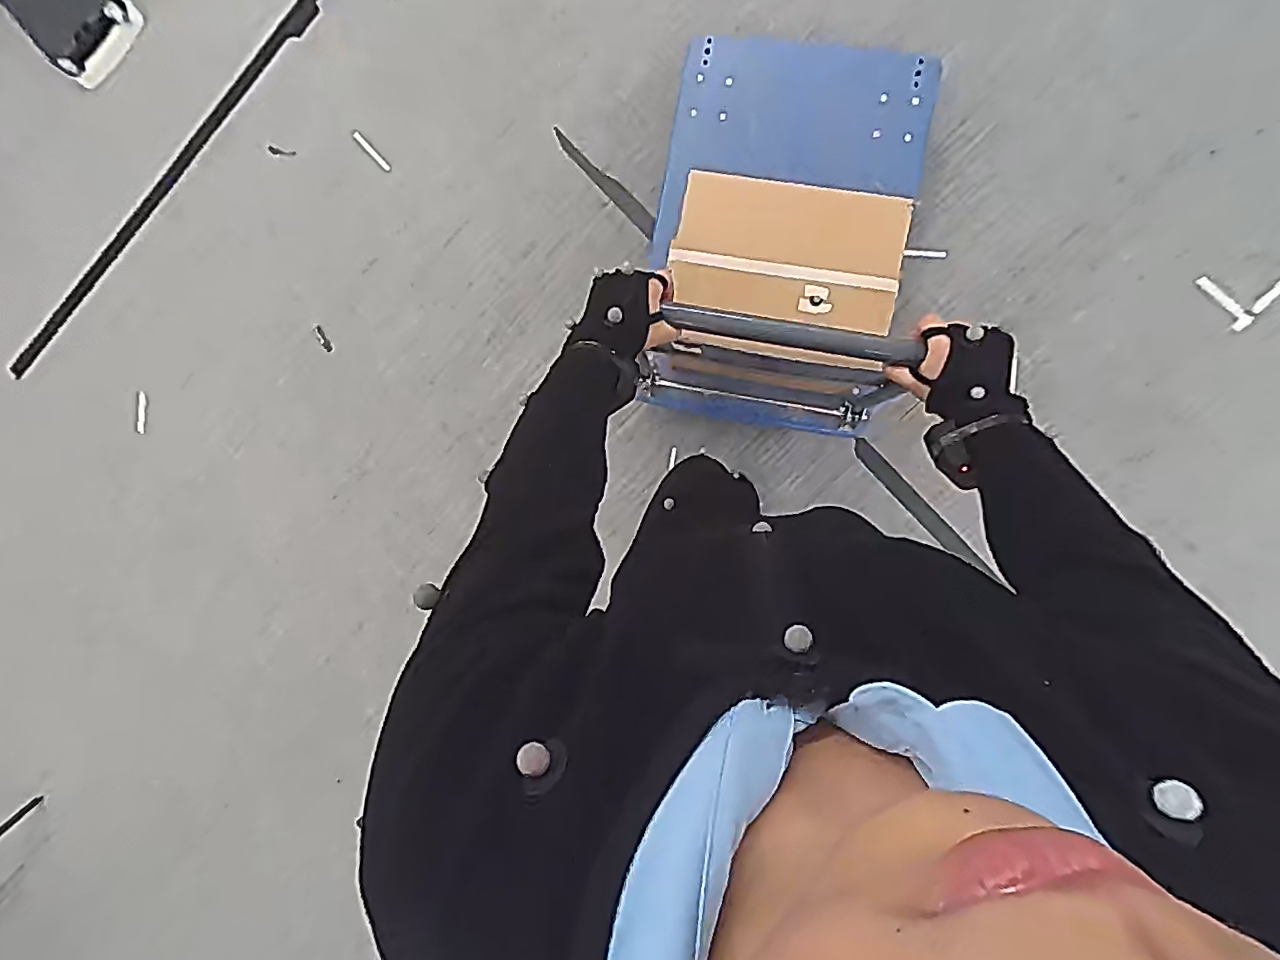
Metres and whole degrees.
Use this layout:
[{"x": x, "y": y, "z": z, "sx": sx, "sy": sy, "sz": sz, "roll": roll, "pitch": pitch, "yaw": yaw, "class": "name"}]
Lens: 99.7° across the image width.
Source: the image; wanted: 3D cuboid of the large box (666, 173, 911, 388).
[{"x": 0.276, "y": -0.390, "z": 1.132, "sx": 0.408, "sy": 0.320, "sz": 0.320, "roll": 10, "pitch": 94, "yaw": 5, "class": "large box"}]
